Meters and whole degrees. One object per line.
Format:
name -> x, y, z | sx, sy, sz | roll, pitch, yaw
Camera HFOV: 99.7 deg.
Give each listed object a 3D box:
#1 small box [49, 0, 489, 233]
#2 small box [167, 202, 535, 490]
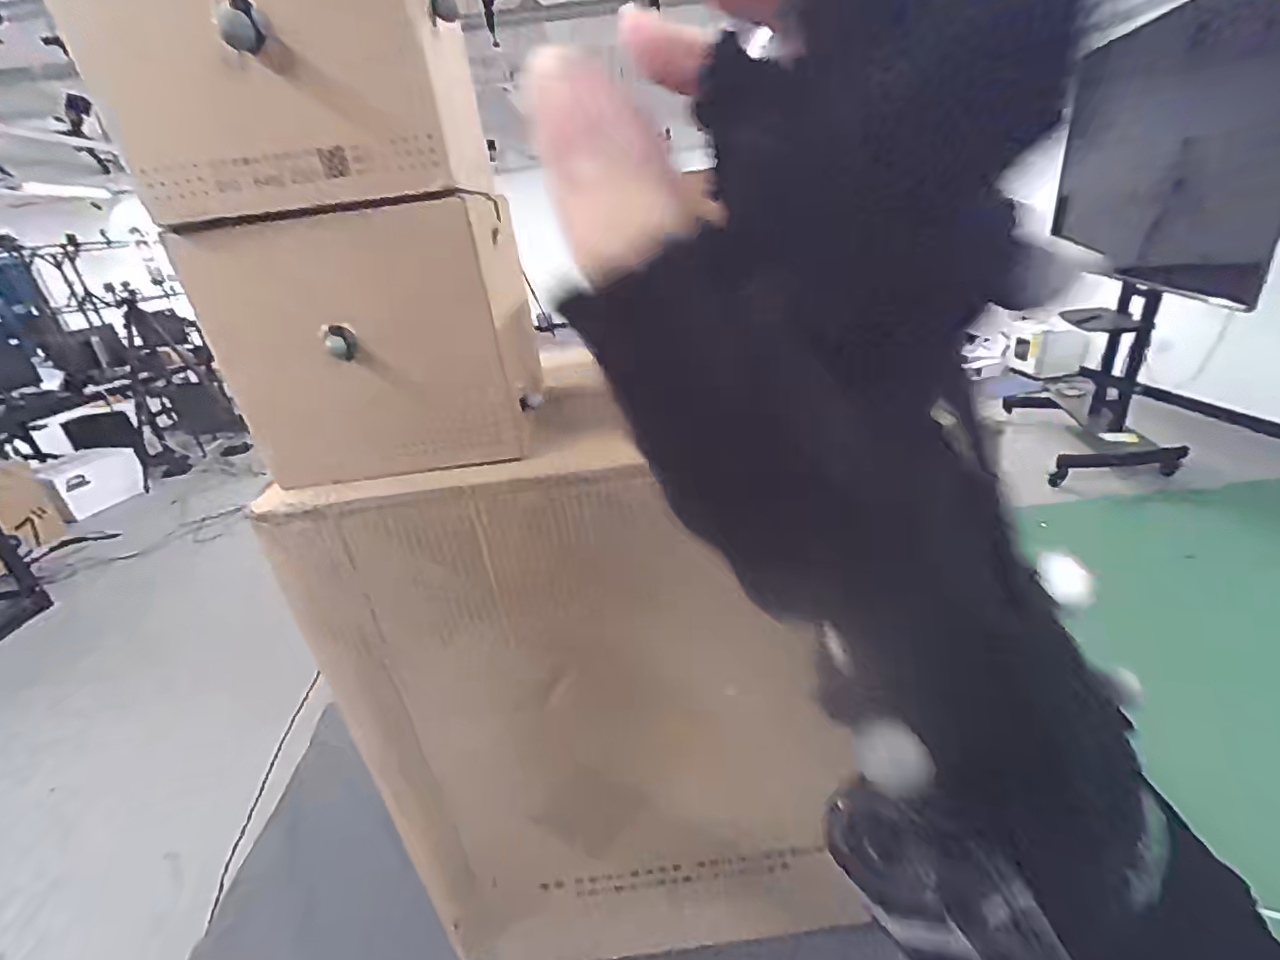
small box -> -0.202, -0.252, 0.337 | 0.168, 0.176, 0.179 | -9, 29, -3
small box -> -0.181, -0.109, 0.412 | 0.179, 0.176, 0.168 | -8, 28, -4
